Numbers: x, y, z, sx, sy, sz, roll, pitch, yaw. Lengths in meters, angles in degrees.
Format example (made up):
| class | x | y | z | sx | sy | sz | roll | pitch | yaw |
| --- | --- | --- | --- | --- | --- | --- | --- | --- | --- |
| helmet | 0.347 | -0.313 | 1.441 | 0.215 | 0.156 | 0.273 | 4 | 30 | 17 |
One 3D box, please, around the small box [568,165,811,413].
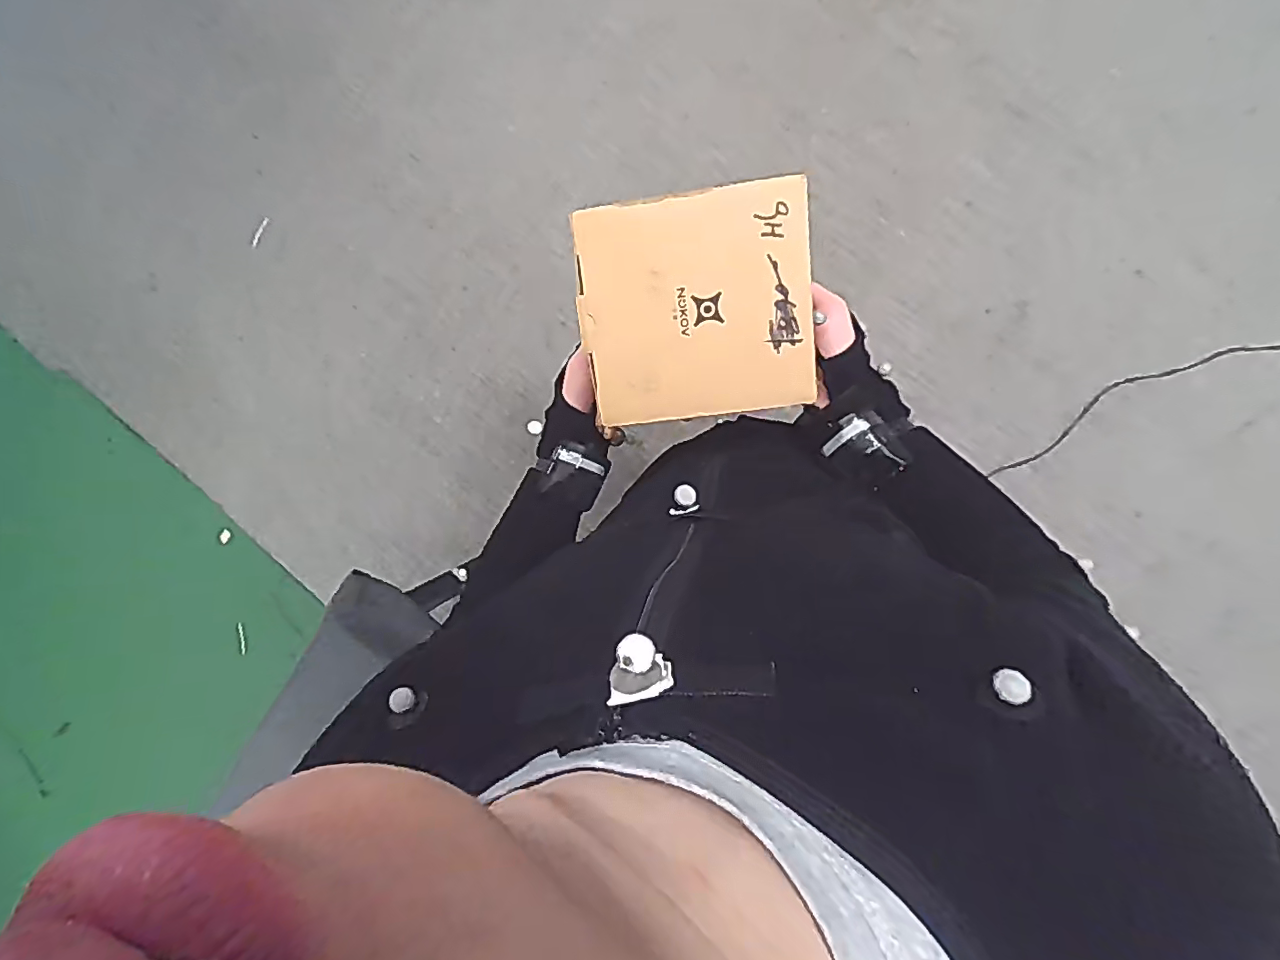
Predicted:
| class | x | y | z | sx | sy | sz | roll | pitch | yaw |
| --- | --- | --- | --- | --- | --- | --- | --- | --- | --- |
| small box | 0.049 | -0.160 | 0.492 | 0.179 | 0.176 | 0.168 | -6 | 105 | 8 |
